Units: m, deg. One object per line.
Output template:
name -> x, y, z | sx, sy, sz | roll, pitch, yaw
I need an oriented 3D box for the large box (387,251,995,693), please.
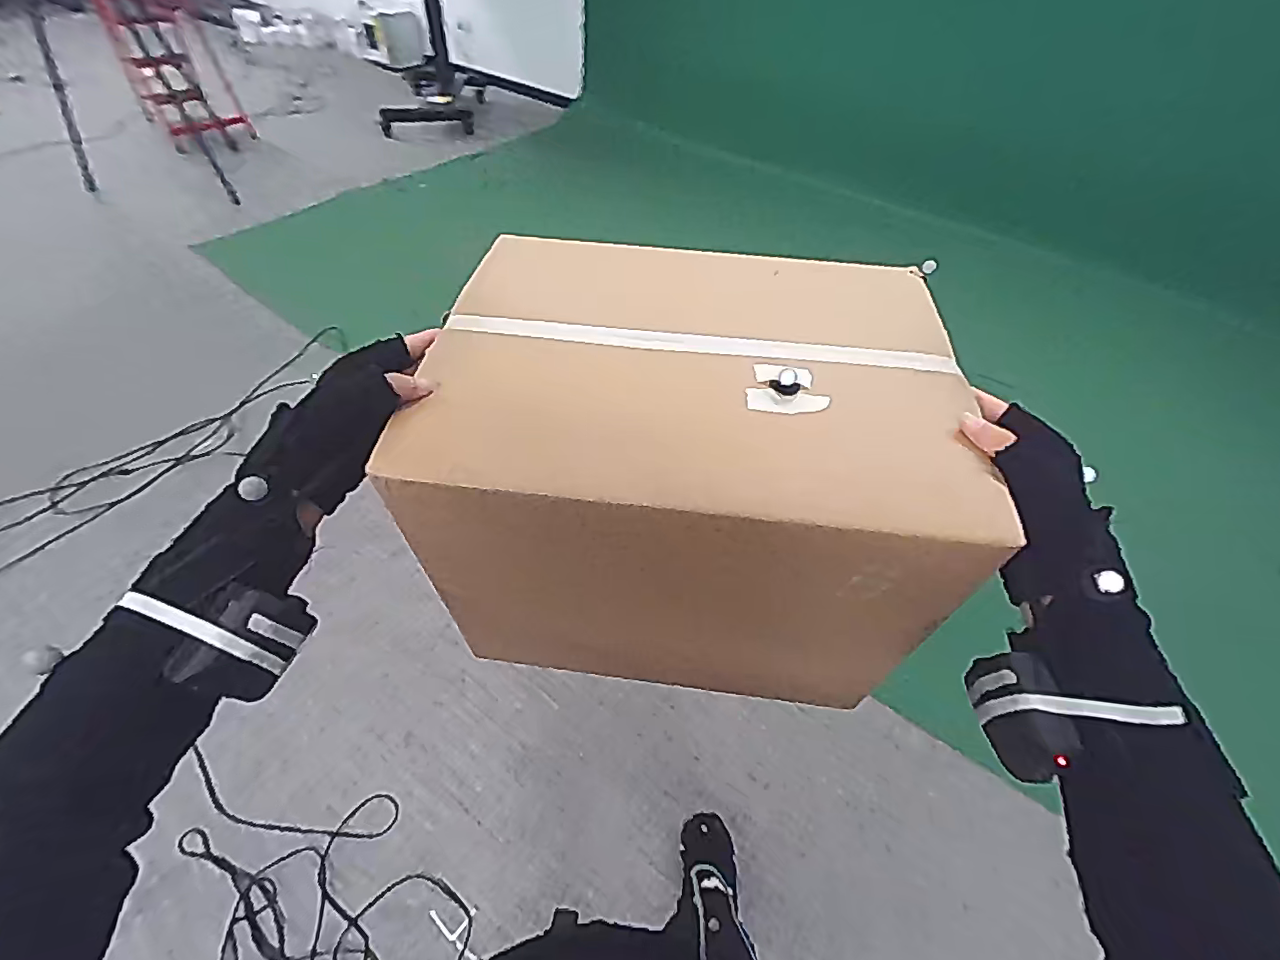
large box -> 0.037, -0.003, 0.555 | 0.408, 0.320, 0.320 | 6, 51, 3
